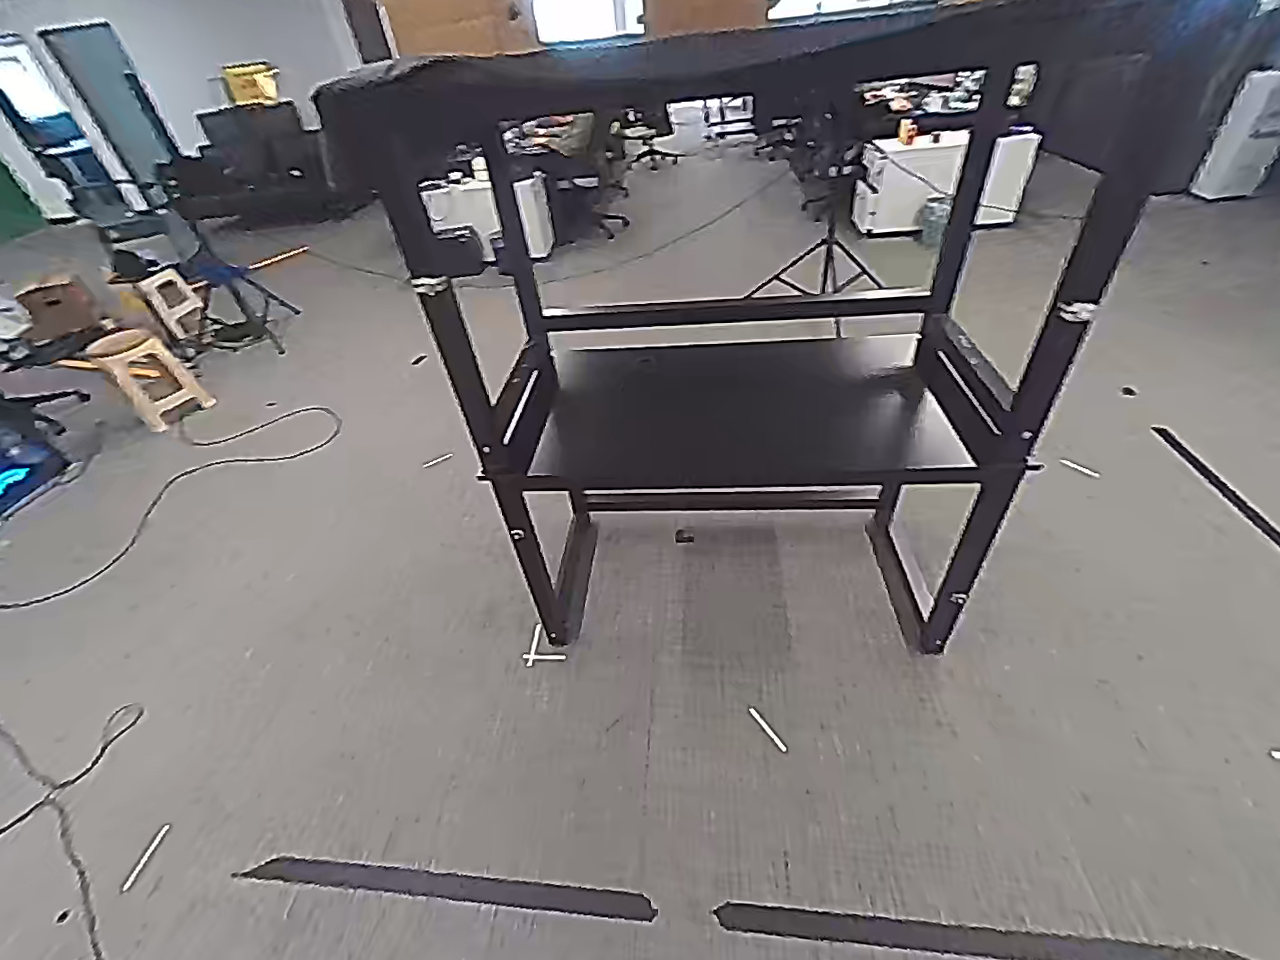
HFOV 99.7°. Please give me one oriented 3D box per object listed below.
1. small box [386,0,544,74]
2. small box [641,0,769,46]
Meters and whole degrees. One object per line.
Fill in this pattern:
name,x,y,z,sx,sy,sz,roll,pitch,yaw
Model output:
small box,-0.264,-0.718,0.807,0.179,0.176,0.168,5,39,14
small box,0.088,-0.727,0.762,0.179,0.176,0.168,-2,39,5
